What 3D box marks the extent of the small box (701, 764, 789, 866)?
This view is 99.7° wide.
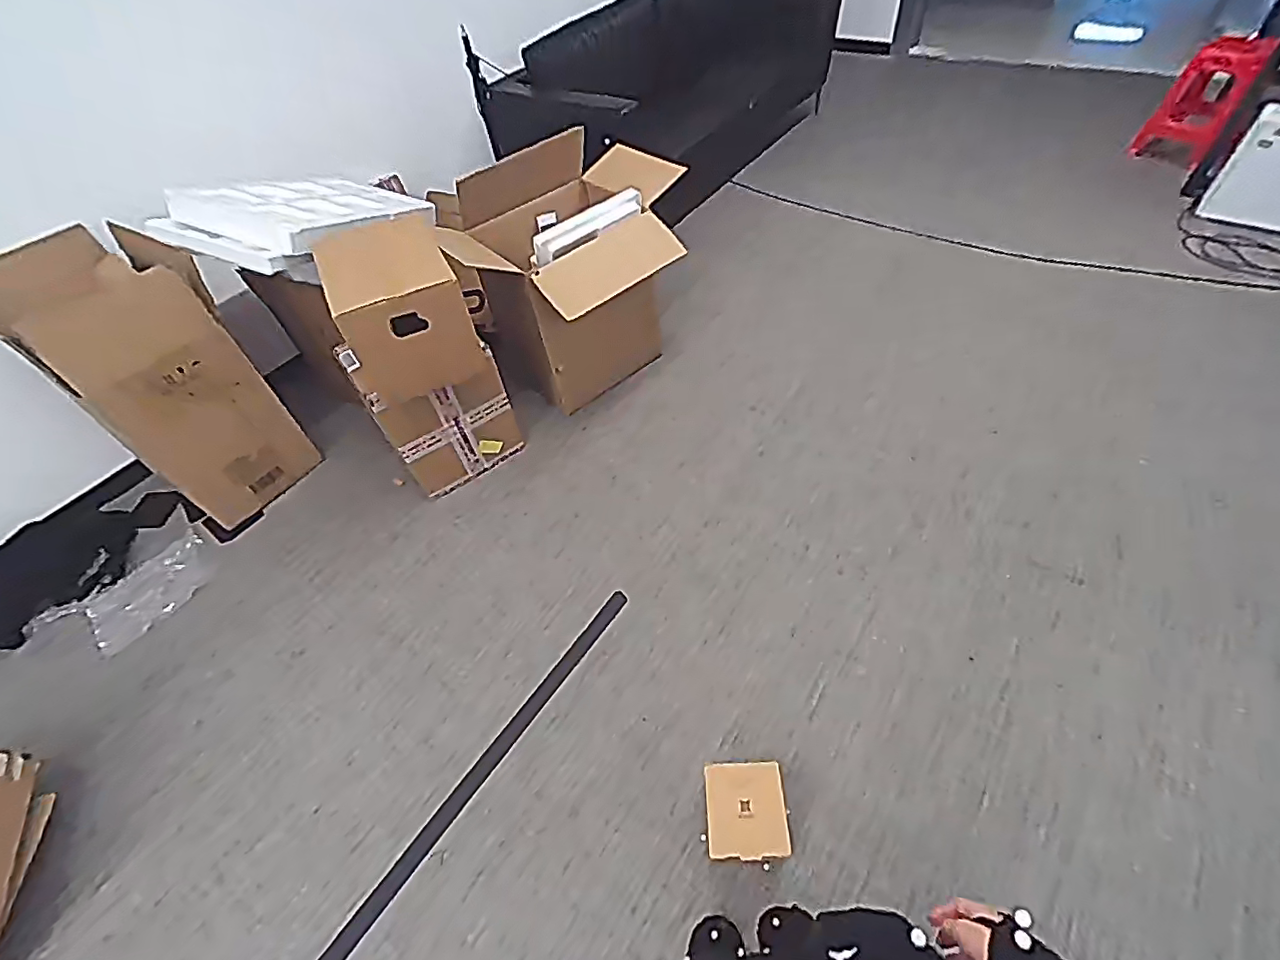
[{"bbox_3d":[0.225,0.743,1.193,0.168,0.176,0.179,-3,50,3],"label":"small box"}]
